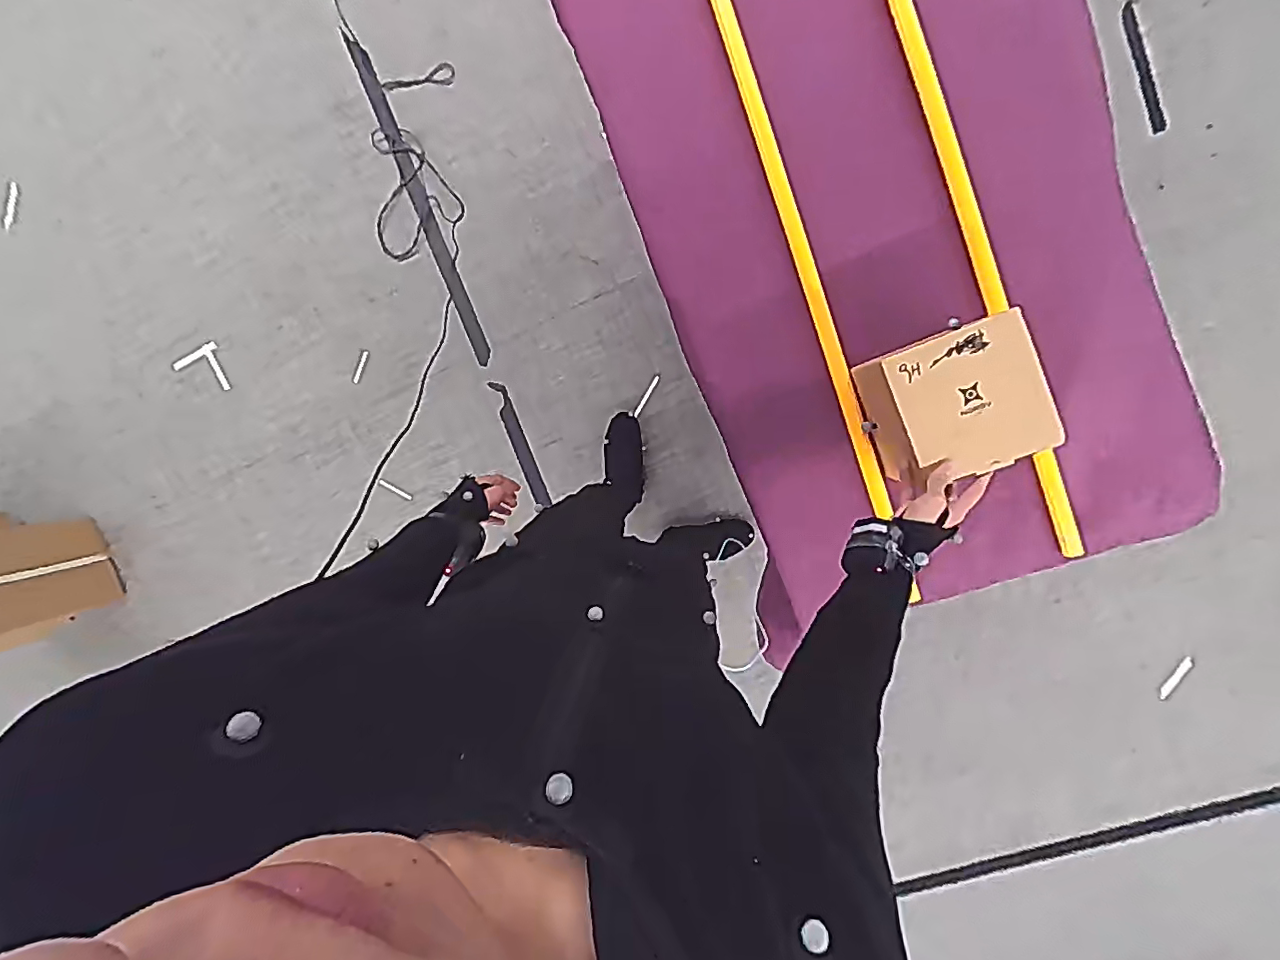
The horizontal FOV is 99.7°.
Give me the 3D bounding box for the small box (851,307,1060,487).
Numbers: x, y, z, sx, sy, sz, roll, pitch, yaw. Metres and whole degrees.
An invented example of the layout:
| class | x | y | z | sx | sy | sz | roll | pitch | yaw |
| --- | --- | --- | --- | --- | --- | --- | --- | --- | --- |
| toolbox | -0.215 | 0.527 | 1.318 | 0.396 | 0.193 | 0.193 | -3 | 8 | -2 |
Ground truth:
| class | x | y | z | sx | sy | sz | roll | pitch | yaw |
| --- | --- | --- | --- | --- | --- | --- | --- | --- | --- |
| small box | 0.407 | -0.109 | 0.729 | 0.168 | 0.176 | 0.179 | -21 | 95 | 10 |
